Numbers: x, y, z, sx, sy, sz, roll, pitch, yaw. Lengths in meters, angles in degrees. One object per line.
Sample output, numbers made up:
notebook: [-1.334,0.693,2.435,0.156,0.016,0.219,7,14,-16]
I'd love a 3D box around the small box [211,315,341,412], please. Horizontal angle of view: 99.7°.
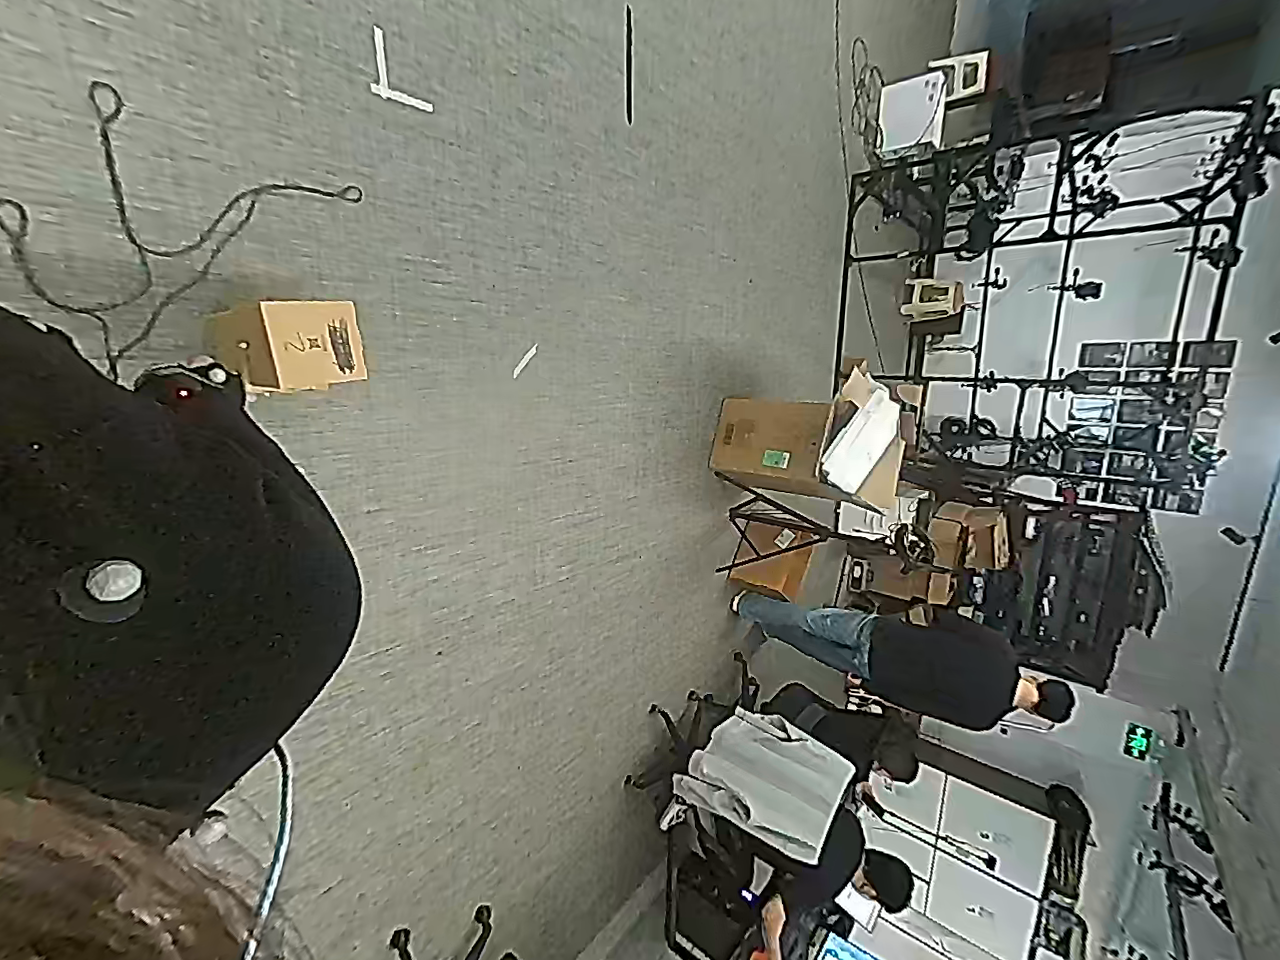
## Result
small box: [-0.812,-0.265,1.219,0.179,0.176,0.168,-40,148,-61]
